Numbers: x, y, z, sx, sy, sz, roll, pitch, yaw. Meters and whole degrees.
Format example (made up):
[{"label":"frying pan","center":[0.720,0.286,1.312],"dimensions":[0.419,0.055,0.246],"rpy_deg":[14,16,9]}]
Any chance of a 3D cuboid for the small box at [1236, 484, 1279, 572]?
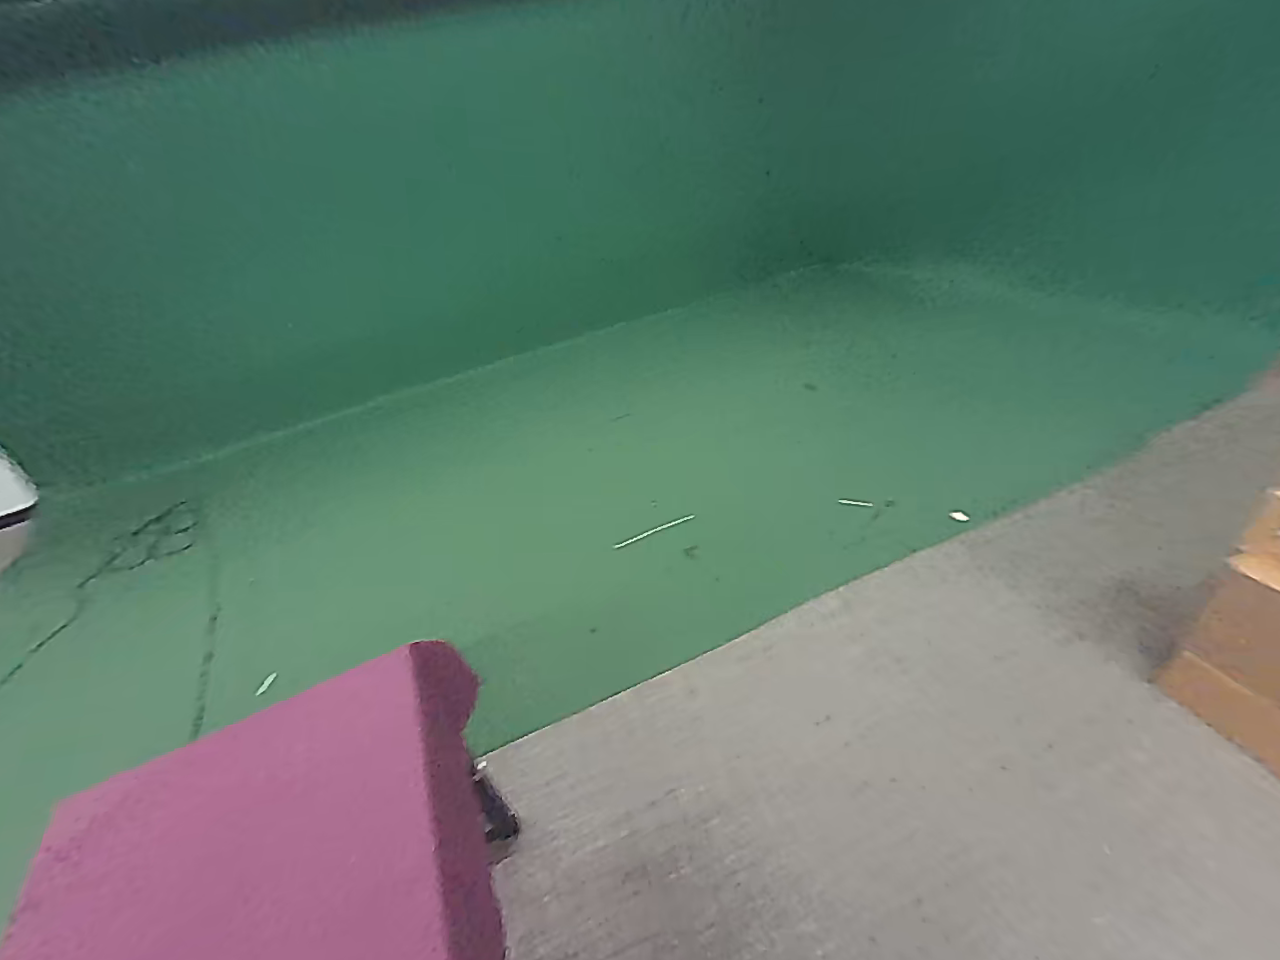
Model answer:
[{"label":"small box","center":[1.429,0.104,1.137],"dimensions":[0.179,0.176,0.168],"rpy_deg":[-20,37,-11]}]
